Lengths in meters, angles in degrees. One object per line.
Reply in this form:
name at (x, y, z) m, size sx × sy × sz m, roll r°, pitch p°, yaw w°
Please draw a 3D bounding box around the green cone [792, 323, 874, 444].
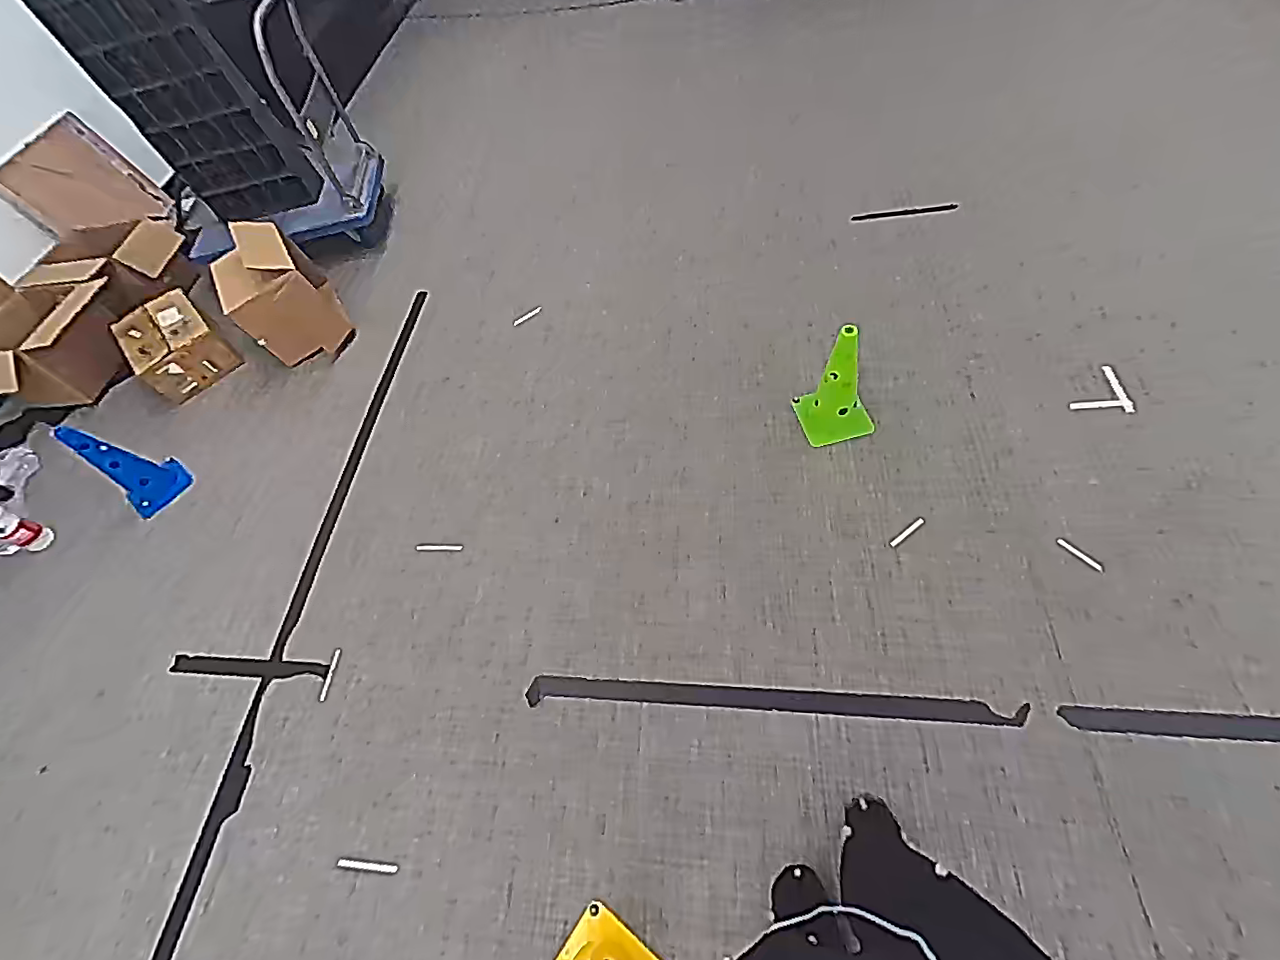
green cone at (0.570, -0.293, 1.533) m, size 0.202 × 0.368 × 0.200 m, roll -14°, pitch 57°, yaw 1°
